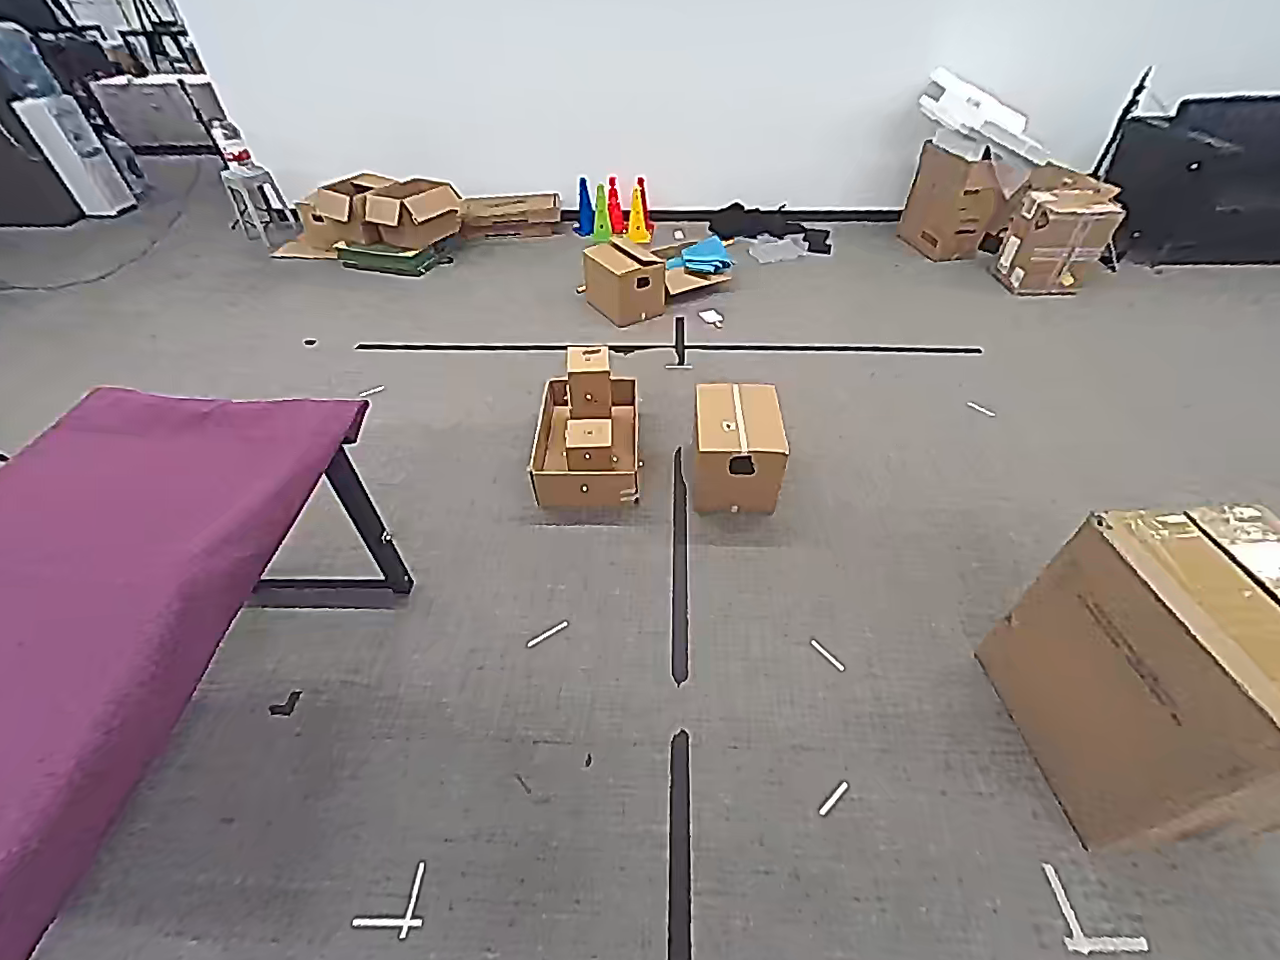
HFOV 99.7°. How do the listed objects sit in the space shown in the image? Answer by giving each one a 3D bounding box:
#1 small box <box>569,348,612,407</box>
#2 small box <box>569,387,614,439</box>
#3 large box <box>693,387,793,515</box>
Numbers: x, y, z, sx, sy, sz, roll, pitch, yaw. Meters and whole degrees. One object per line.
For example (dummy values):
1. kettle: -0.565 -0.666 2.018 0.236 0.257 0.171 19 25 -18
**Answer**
1. small box: -0.198 -0.415 2.191 0.168 0.176 0.179 -3 46 -3
2. small box: -0.206 -0.290 2.300 0.179 0.176 0.168 -6 46 -6
3. large box: 0.375 -0.114 2.086 0.320 0.320 0.408 1 45 2
